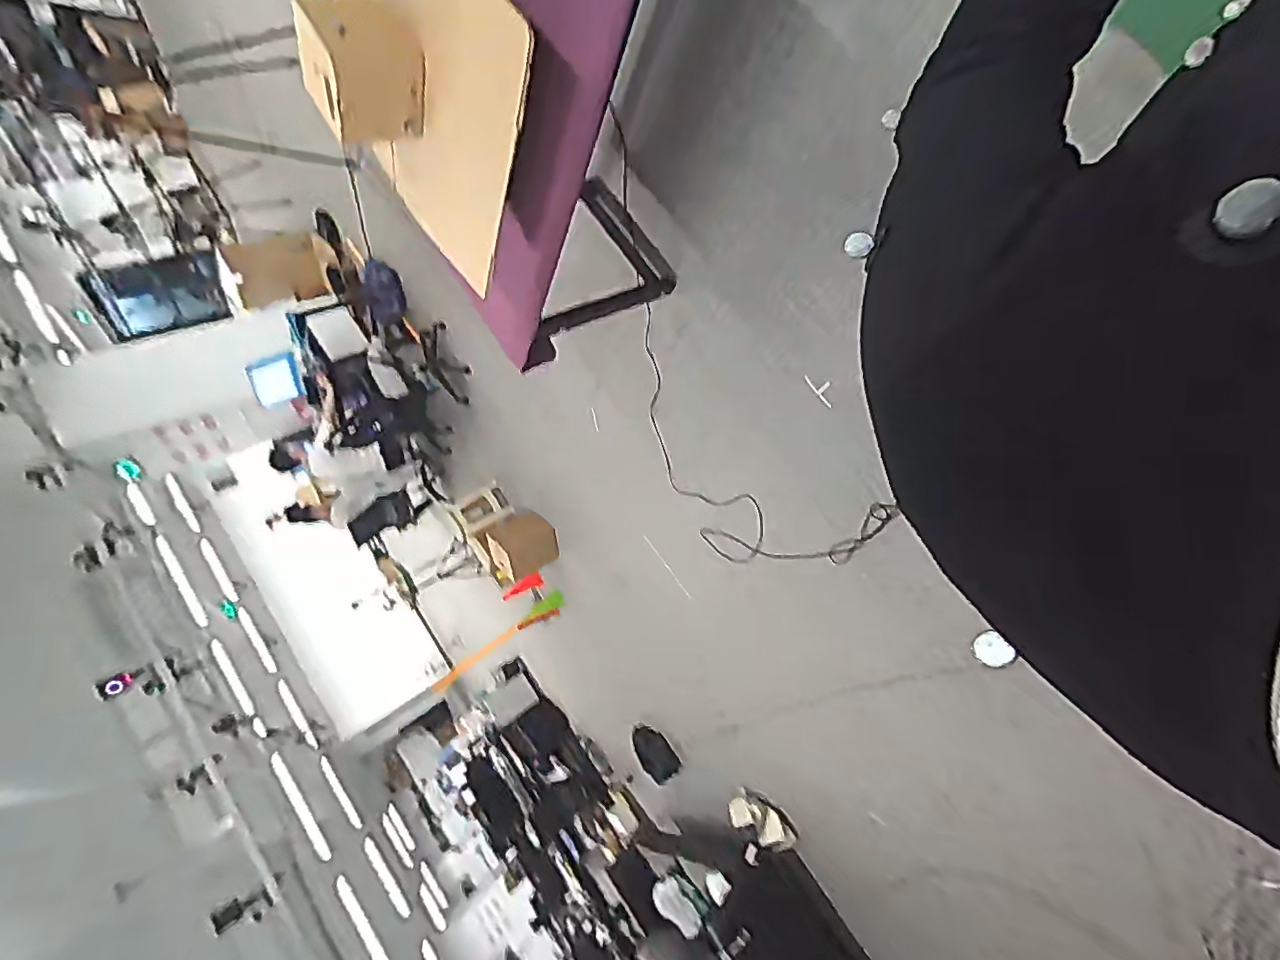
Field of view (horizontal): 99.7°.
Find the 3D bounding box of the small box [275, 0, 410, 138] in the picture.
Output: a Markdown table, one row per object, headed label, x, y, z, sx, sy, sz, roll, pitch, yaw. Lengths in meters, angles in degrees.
| label | x | y | z | sx | sy | sz | roll | pitch | yaw |
| --- | --- | --- | --- | --- | --- | --- | --- | --- | --- |
| small box | -0.565 | -0.807 | 1.047 | 0.179 | 0.176 | 0.168 | 53 | 147 | 9 |
